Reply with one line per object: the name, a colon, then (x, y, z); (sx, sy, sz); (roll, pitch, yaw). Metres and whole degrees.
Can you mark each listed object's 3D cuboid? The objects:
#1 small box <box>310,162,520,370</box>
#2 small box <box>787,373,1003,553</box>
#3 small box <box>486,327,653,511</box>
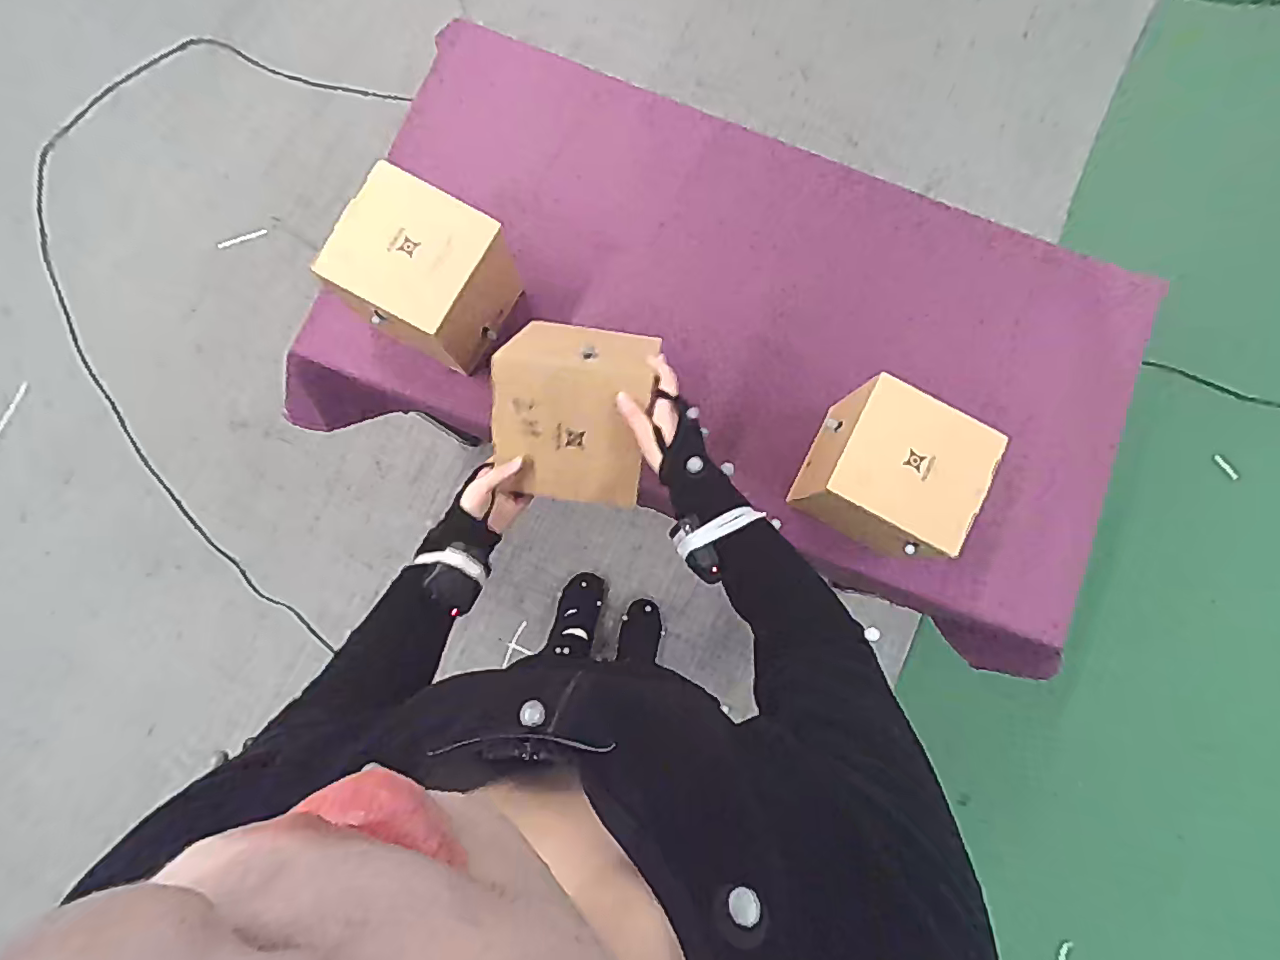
small box: (-0.287, -0.274, 0.734); (0.179, 0.176, 0.168); (29, 83, 1)
small box: (0.324, -0.011, 0.726); (0.179, 0.176, 0.168); (28, 83, 1)
small box: (-0.081, -0.084, 0.680); (0.179, 0.176, 0.168); (8, 121, 1)
